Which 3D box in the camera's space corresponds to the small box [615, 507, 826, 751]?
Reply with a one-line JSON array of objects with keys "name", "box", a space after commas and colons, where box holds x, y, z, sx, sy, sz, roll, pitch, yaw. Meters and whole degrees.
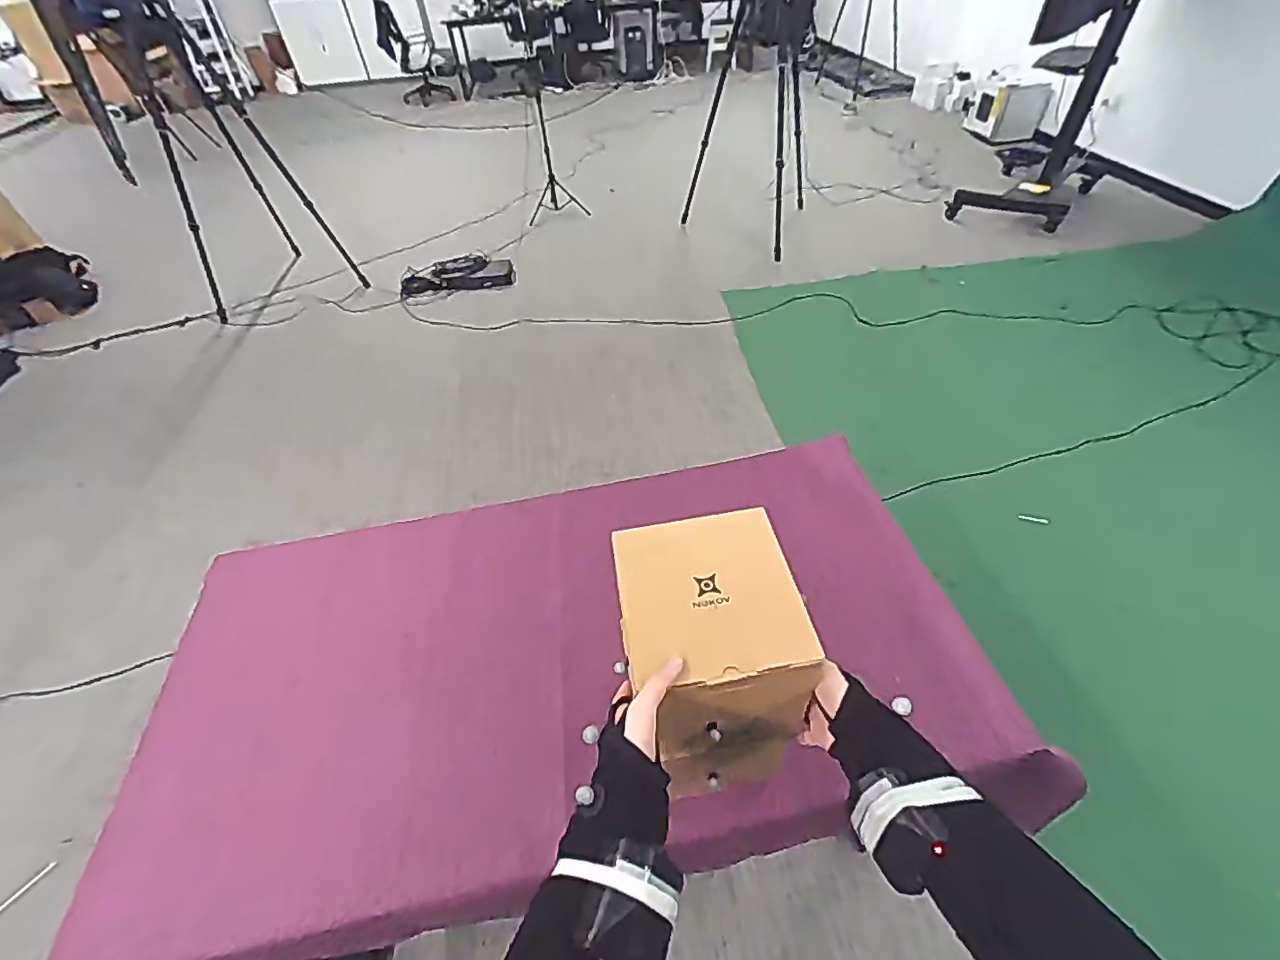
[{"name": "small box", "box": [0.069, 0.156, 0.568, 0.168, 0.176, 0.179, -10, 48, -4]}]

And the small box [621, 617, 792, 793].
[{"name": "small box", "box": [0.075, 0.274, 0.681, 0.168, 0.176, 0.179, -10, 47, -4]}]
